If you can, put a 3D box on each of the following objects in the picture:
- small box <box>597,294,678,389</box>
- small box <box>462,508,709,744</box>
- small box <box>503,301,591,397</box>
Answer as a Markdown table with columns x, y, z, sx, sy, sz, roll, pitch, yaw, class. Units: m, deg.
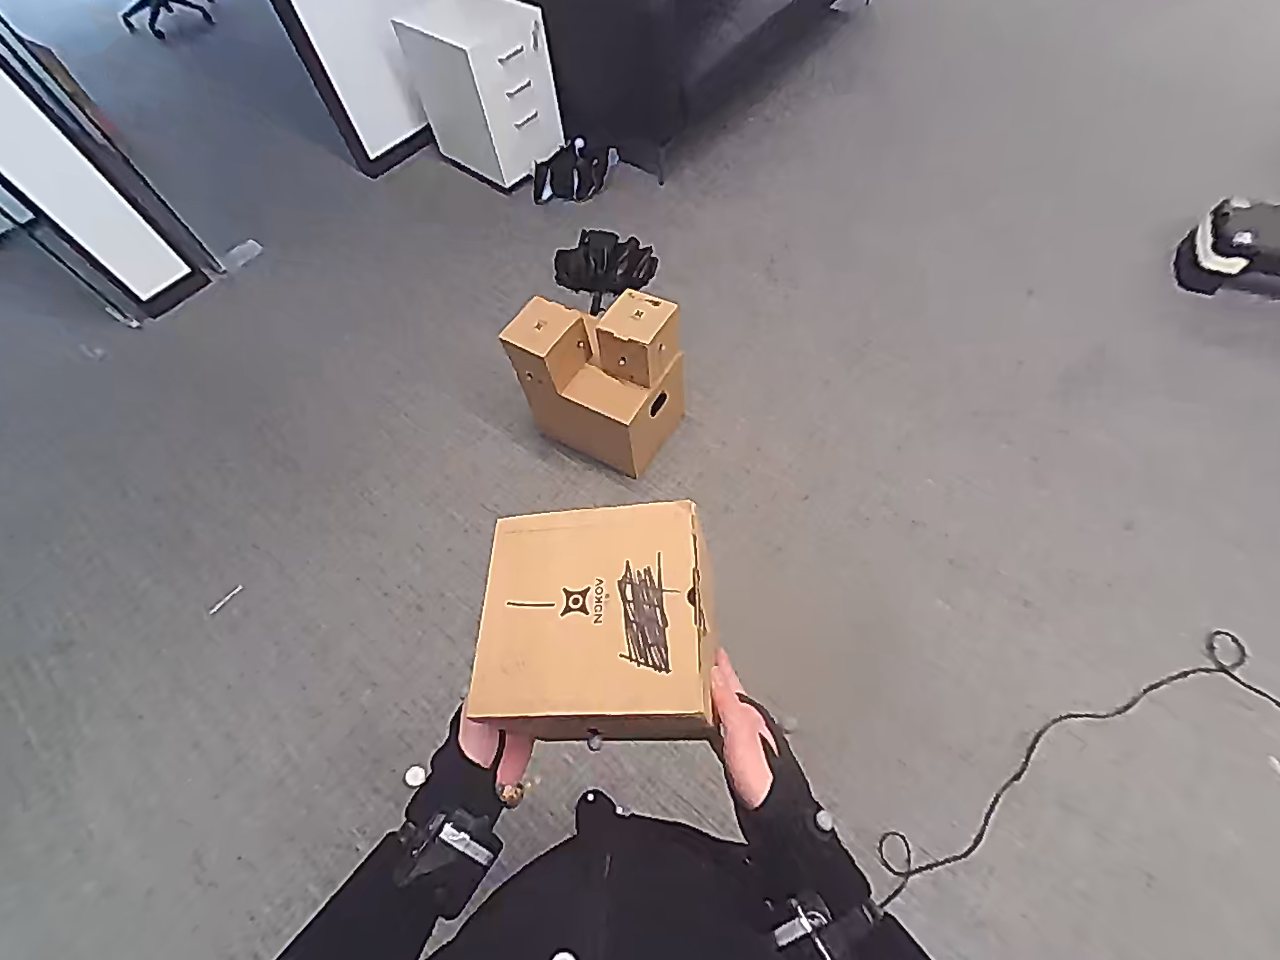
| x | y | z | sx | sy | sz | roll | pitch | yaw | class |
| --- | --- | --- | --- | --- | --- | --- | --- | --- | --- |
| 0.001 | -0.388 | 1.533 | 0.168 | 0.176 | 0.179 | 24 | 64 | 18 | small box |
| -0.030 | 0.139 | 0.487 | 0.179 | 0.176 | 0.168 | -5 | 59 | 10 | small box |
| -0.257 | -0.373 | 1.552 | 0.168 | 0.176 | 0.179 | 27 | 70 | 21 | small box |
